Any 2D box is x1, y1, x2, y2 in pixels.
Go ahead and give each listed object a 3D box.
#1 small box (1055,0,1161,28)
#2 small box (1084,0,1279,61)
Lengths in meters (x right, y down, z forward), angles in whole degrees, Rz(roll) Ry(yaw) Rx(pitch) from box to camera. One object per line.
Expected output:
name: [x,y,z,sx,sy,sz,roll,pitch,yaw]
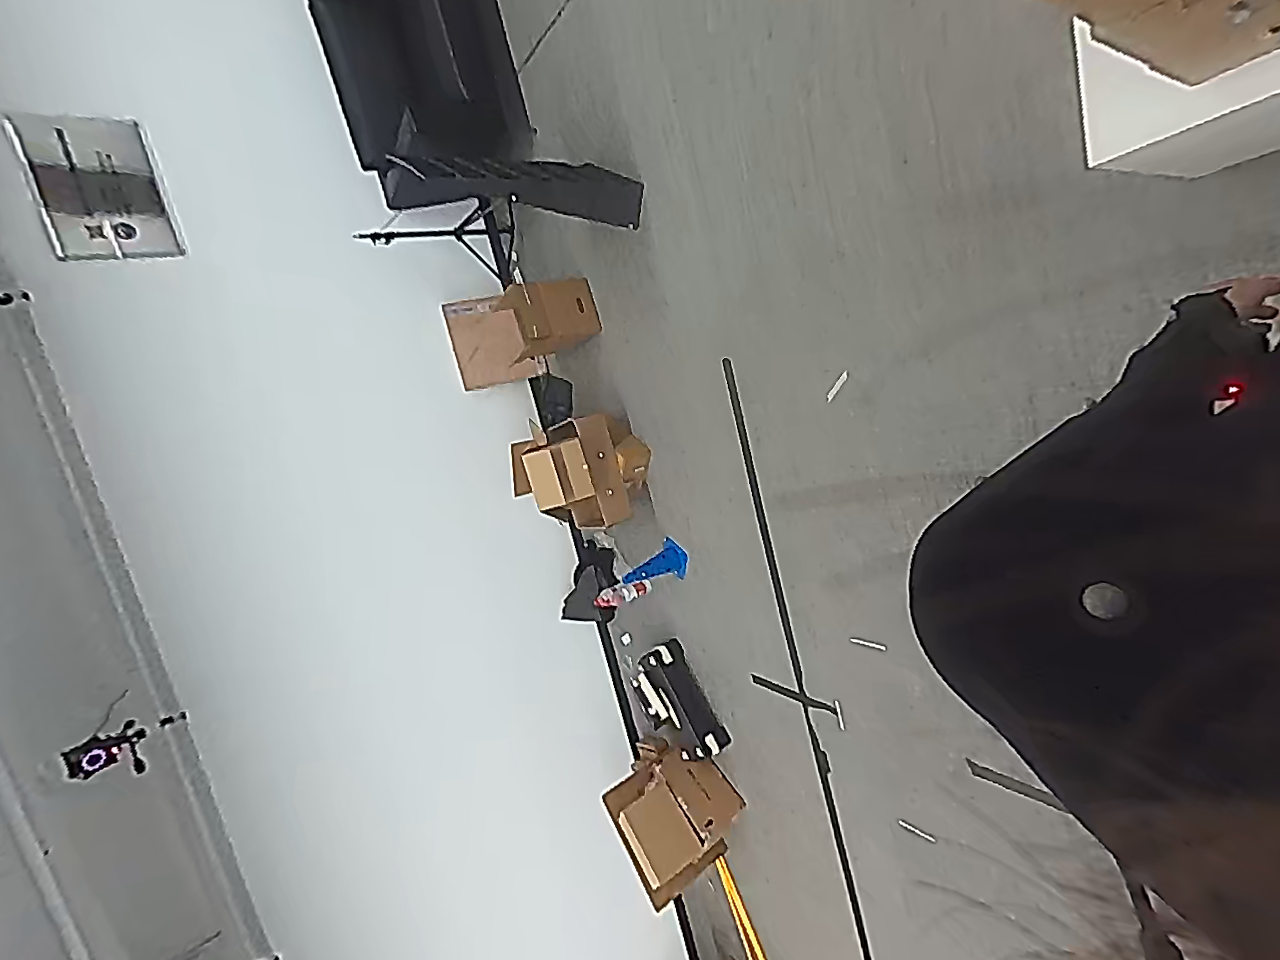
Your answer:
small box: [0.395,-0.477,0.388,0.179,0.176,0.168,1,105,57]
small box: [0.524,-0.520,0.479,0.168,0.176,0.179,4,108,58]
